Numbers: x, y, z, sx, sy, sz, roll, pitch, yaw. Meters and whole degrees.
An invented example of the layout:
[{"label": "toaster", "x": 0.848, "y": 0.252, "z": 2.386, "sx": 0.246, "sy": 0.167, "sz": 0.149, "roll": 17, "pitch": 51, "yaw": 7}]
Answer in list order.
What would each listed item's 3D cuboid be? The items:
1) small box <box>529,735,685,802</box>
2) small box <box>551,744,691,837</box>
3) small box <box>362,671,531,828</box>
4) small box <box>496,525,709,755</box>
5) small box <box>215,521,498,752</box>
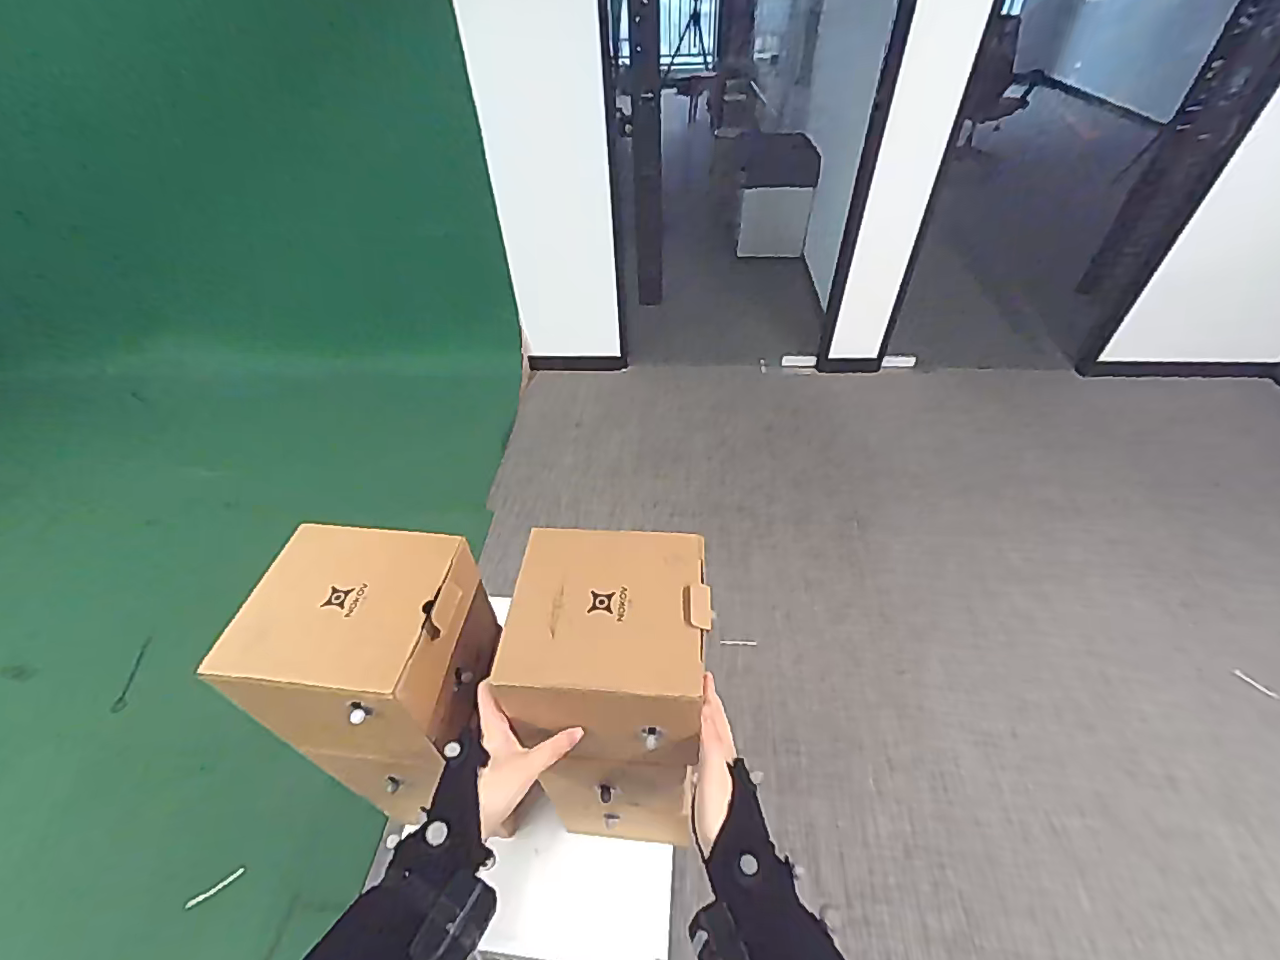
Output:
[{"label": "small box", "x": -0.026, "y": 0.279, "z": 0.667, "sx": 0.168, "sy": 0.176, "sz": 0.179, "roll": 2, "pitch": 46, "yaw": 3}, {"label": "small box", "x": -0.015, "y": 0.397, "z": 0.782, "sx": 0.179, "sy": 0.176, "sz": 0.168, "roll": 3, "pitch": 46, "yaw": 6}, {"label": "small box", "x": -0.262, "y": 0.392, "z": 0.795, "sx": 0.179, "sy": 0.176, "sz": 0.168, "roll": 5, "pitch": 46, "yaw": 4}, {"label": "small box", "x": -0.023, "y": 0.165, "z": 0.551, "sx": 0.179, "sy": 0.176, "sz": 0.168, "roll": 2, "pitch": 46, "yaw": 6}, {"label": "small box", "x": -0.267, "y": 0.163, "z": 0.561, "sx": 0.179, "sy": 0.176, "sz": 0.168, "roll": 4, "pitch": 45, "yaw": 4}]
